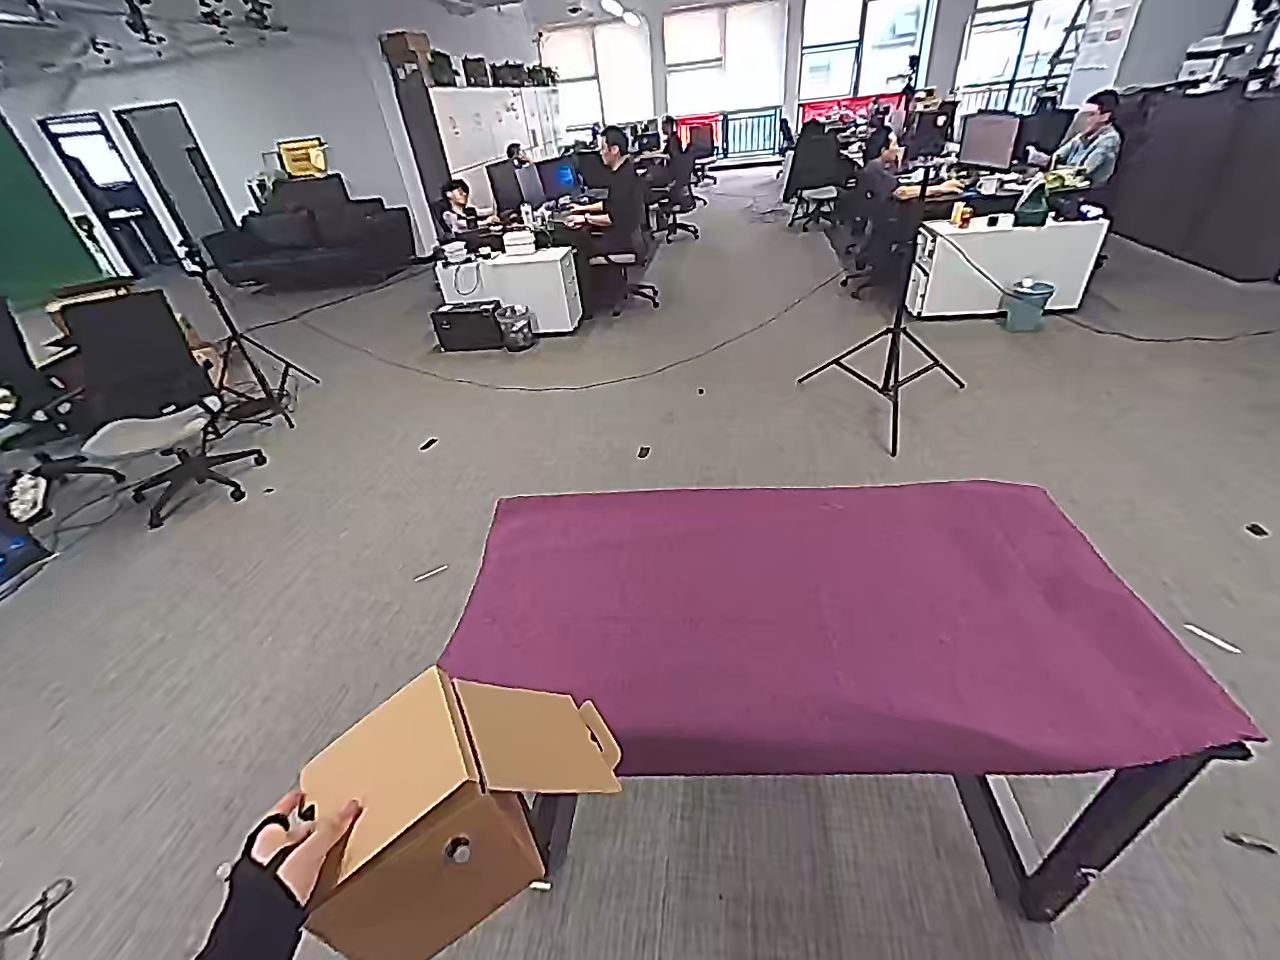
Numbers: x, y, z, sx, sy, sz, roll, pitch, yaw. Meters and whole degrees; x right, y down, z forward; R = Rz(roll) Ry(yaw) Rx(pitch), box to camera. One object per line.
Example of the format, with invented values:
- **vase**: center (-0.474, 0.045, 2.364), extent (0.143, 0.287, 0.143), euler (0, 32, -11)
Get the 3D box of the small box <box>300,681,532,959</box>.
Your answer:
- **small box**: center (-0.233, 0.367, 0.587), extent (0.179, 0.176, 0.168), euler (-27, 31, -18)
